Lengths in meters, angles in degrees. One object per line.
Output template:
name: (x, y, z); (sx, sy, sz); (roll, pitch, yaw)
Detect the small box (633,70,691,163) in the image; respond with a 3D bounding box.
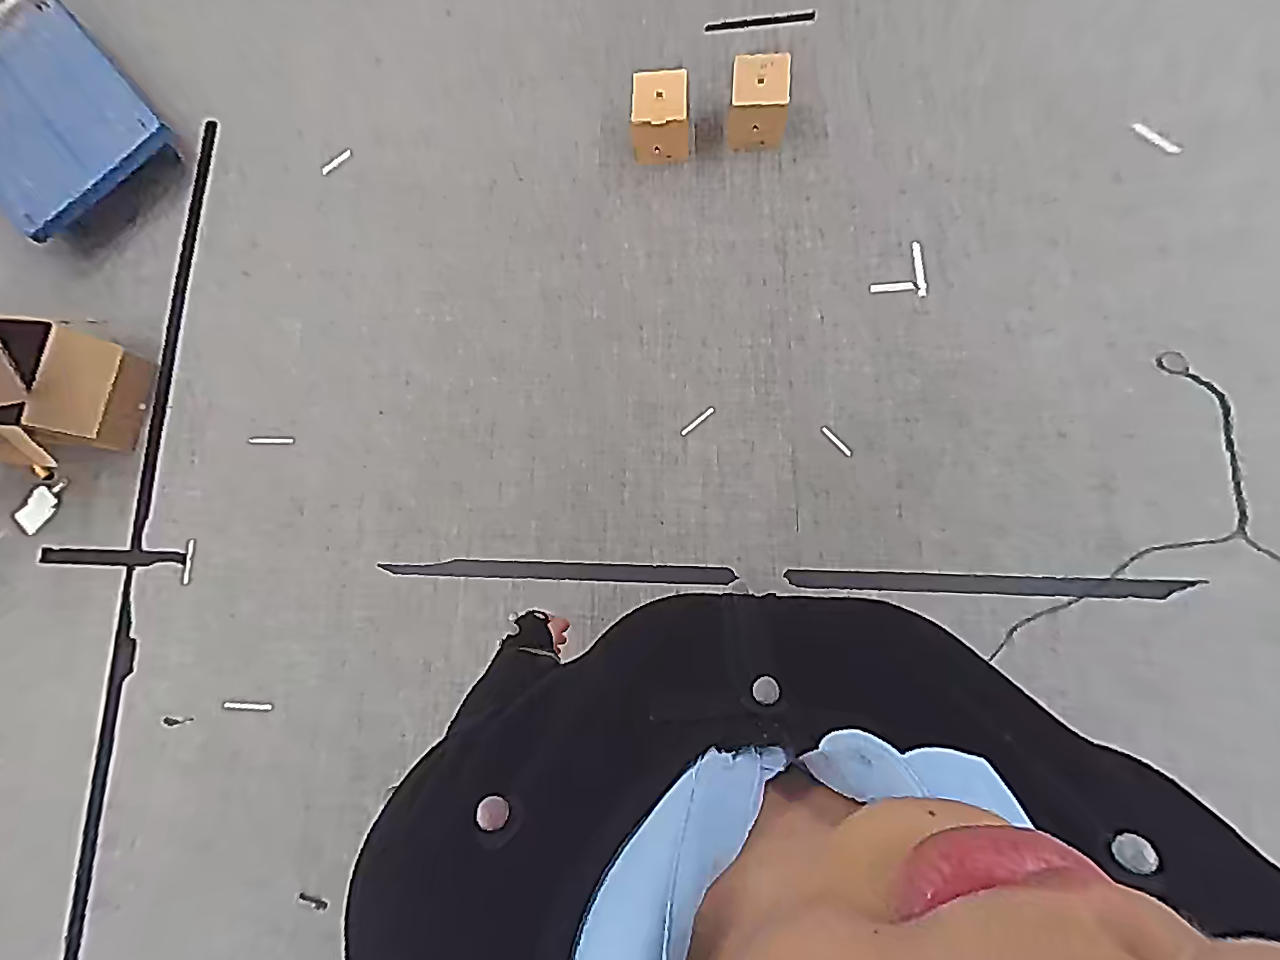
small box: (0.072, -1.133, 1.694); (0.168, 0.176, 0.179); (1, 80, 7)

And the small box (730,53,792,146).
small box: (0.367, -1.160, 1.661); (0.168, 0.176, 0.179); (4, 80, 7)
